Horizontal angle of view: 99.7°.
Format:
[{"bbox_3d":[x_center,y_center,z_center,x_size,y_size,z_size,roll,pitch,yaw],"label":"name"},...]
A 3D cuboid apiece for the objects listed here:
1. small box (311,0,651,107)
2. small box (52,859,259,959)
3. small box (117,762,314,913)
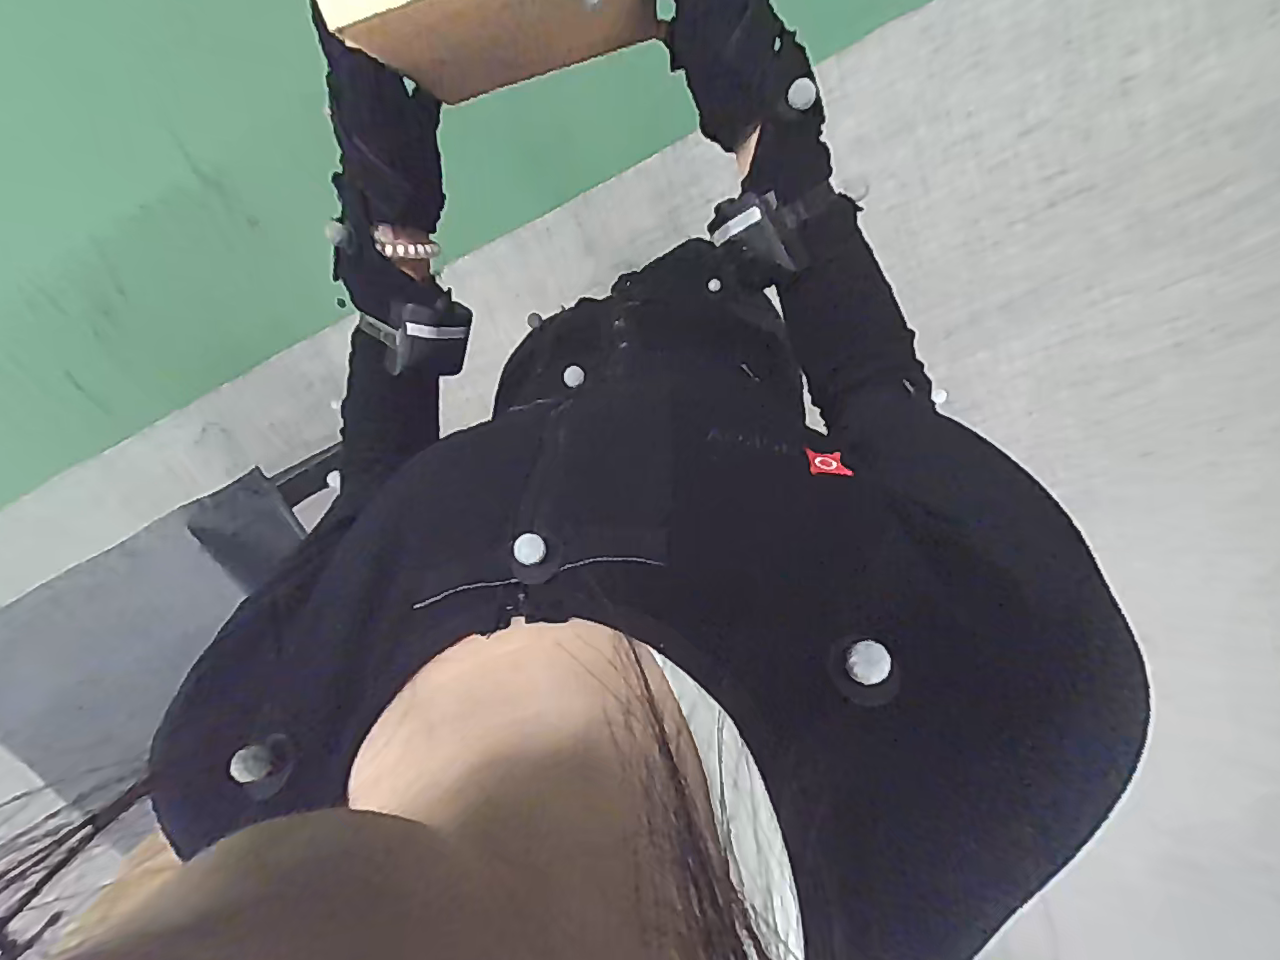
[{"bbox_3d":[-0.096,-0.348,0.312,0.179,0.176,0.168,-14,112,7],"label":"small box"},{"bbox_3d":[-0.712,0.696,0.778,0.179,0.176,0.168,-26,109,10],"label":"small box"},{"bbox_3d":[-0.700,0.620,0.924,0.179,0.176,0.168,-24,108,11],"label":"small box"}]
